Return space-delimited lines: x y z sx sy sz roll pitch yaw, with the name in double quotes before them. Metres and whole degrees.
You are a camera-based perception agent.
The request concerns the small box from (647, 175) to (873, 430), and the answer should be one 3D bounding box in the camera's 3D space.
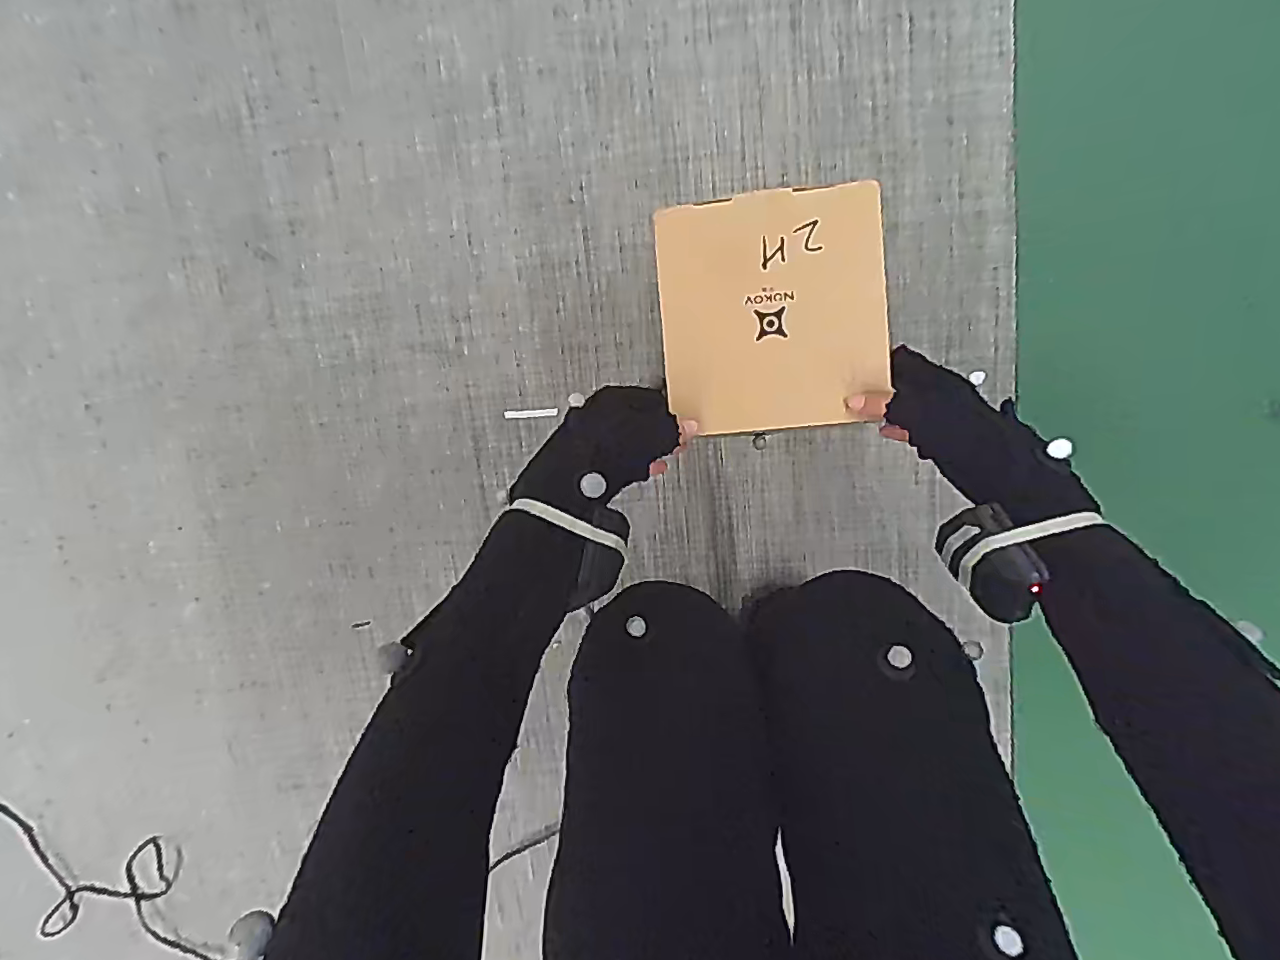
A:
"small box" 0.094 -0.136 0.480 0.168 0.176 0.179 -2 91 3
